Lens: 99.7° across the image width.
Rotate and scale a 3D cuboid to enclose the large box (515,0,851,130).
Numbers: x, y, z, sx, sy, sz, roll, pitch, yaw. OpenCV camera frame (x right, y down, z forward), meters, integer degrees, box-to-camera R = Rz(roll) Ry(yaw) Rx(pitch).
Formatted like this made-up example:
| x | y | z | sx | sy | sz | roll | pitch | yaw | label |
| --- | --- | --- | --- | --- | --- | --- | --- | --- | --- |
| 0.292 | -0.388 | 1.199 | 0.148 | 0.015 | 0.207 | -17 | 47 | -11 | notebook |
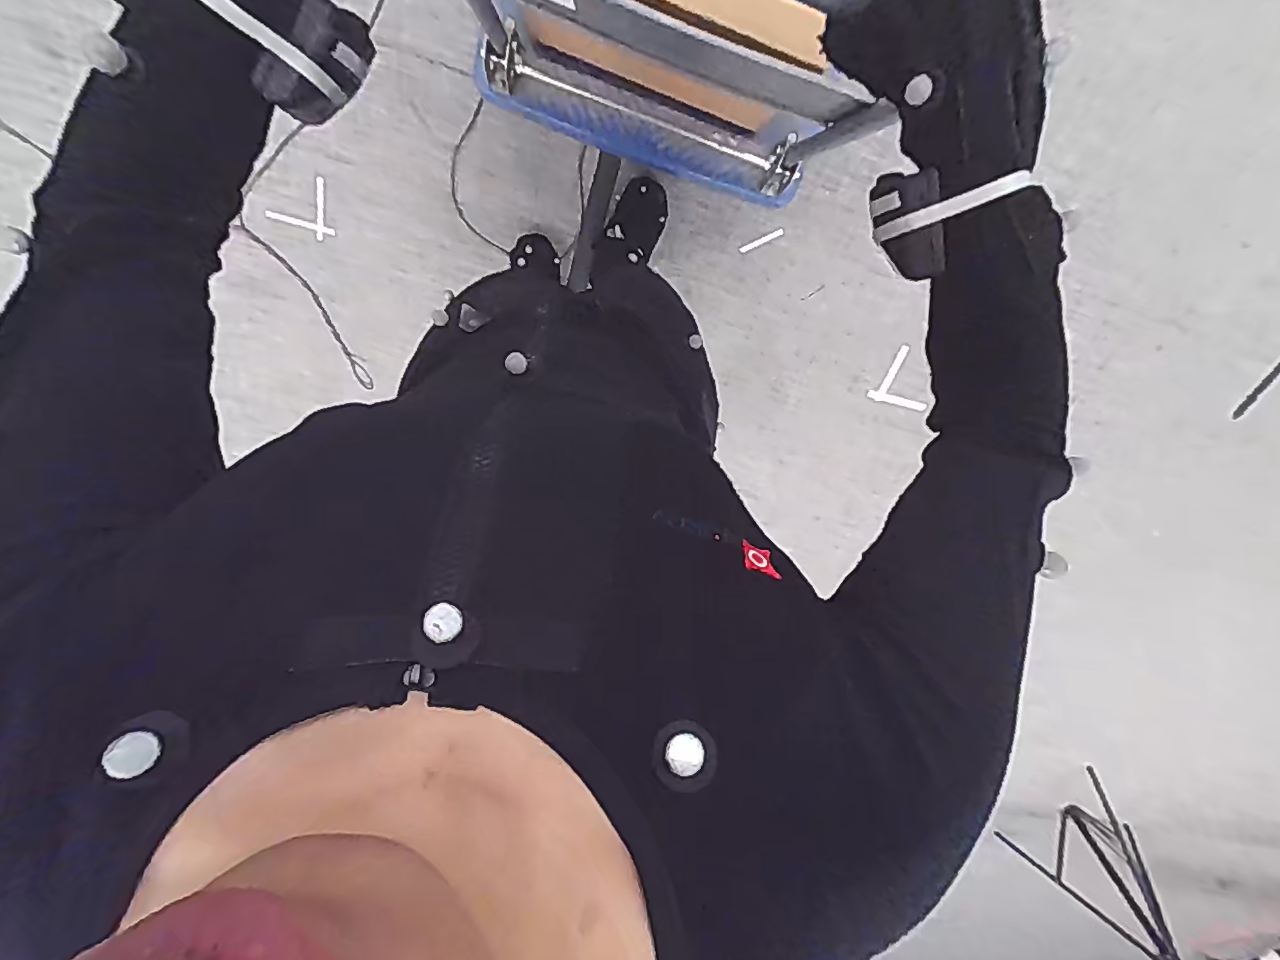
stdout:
| x | y | z | sx | sy | sz | roll | pitch | yaw | label |
| --- | --- | --- | --- | --- | --- | --- | --- | --- | --- |
| 0.064 | -0.721 | 0.698 | 0.408 | 0.320 | 0.320 | 15 | 110 | -11 | large box |
